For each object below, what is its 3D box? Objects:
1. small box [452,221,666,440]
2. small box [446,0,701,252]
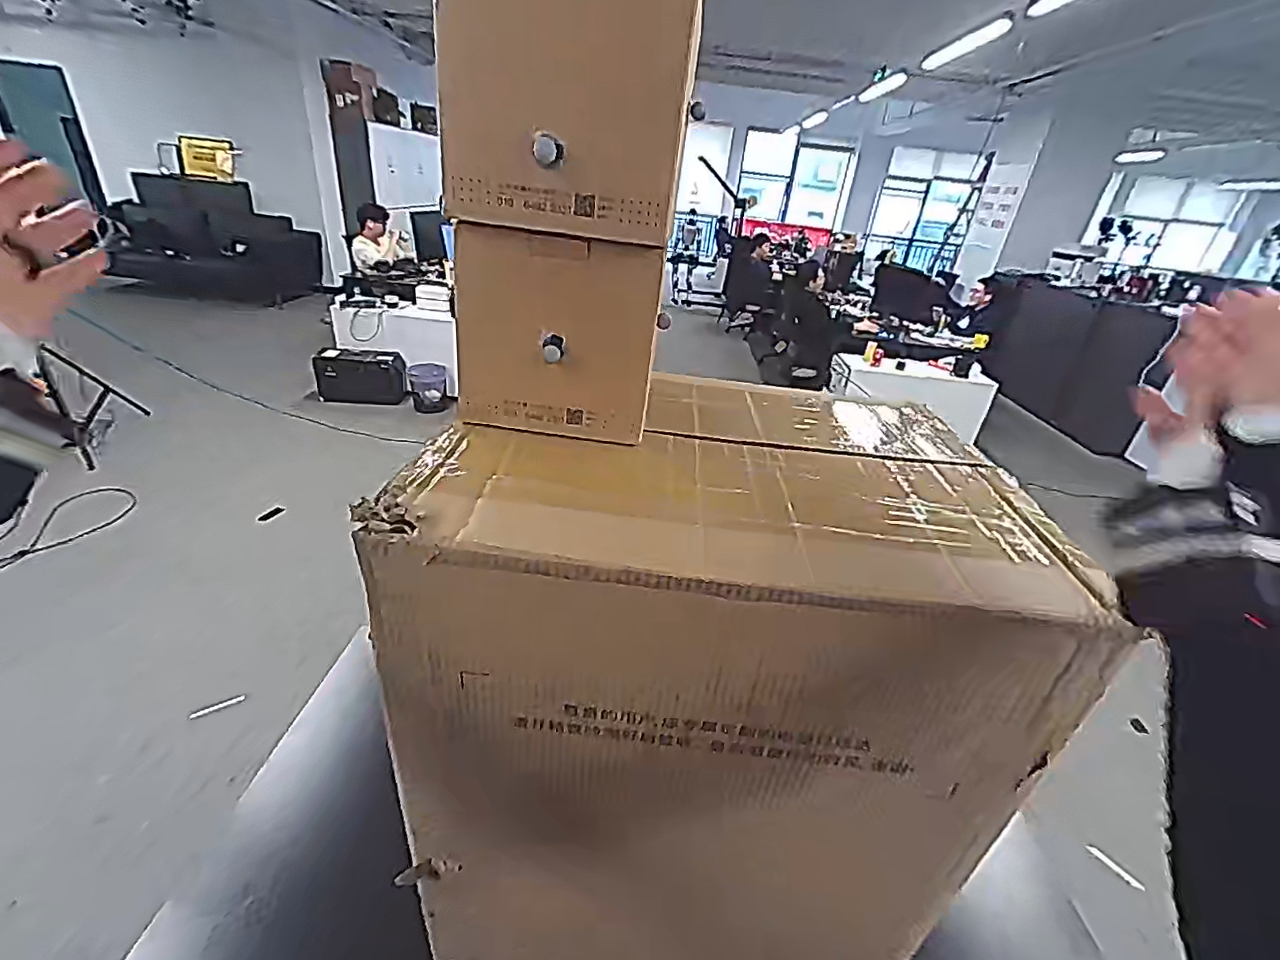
[{"bbox_3d":[-0.066,-0.151,0.523,0.168,0.176,0.179,7,28,0],"label":"small box"},{"bbox_3d":[-0.046,-0.288,0.431,0.168,0.176,0.179,8,28,1],"label":"small box"}]
